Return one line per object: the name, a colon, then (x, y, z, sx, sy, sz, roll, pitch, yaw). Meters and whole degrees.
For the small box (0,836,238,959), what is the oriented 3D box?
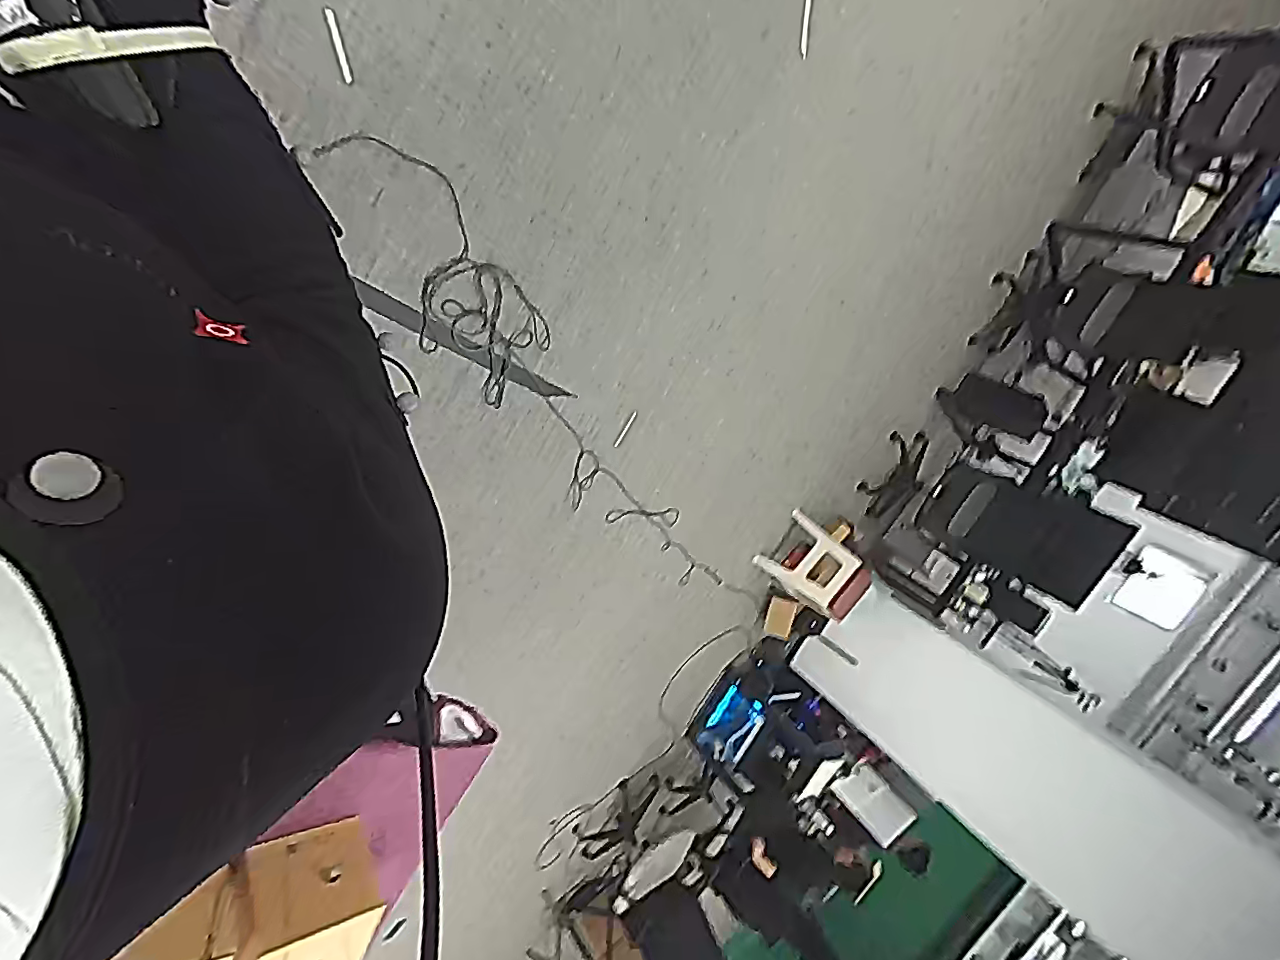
small box: (-0.645, 0.579, 0.666, 0.168, 0.176, 0.179, -52, 140, 1)

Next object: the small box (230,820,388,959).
small box: (-0.526, 0.671, 0.844, 0.168, 0.176, 0.179, 11, 110, -46)
